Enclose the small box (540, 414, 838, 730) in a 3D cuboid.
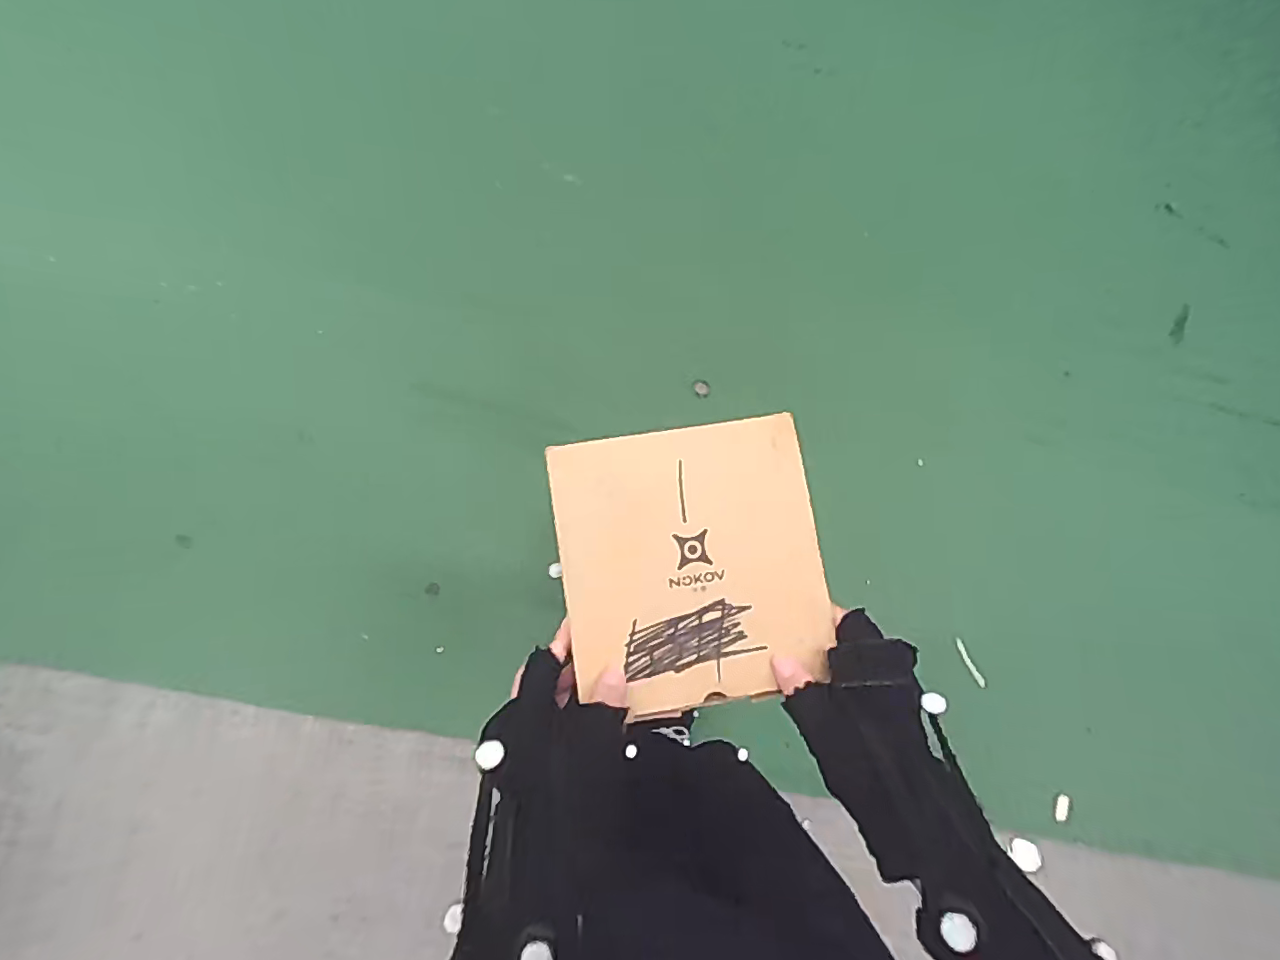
[{"bbox_3d":[0.026,0.064,0.416,0.168,0.176,0.179,-9,82,-5],"label":"small box"}]
